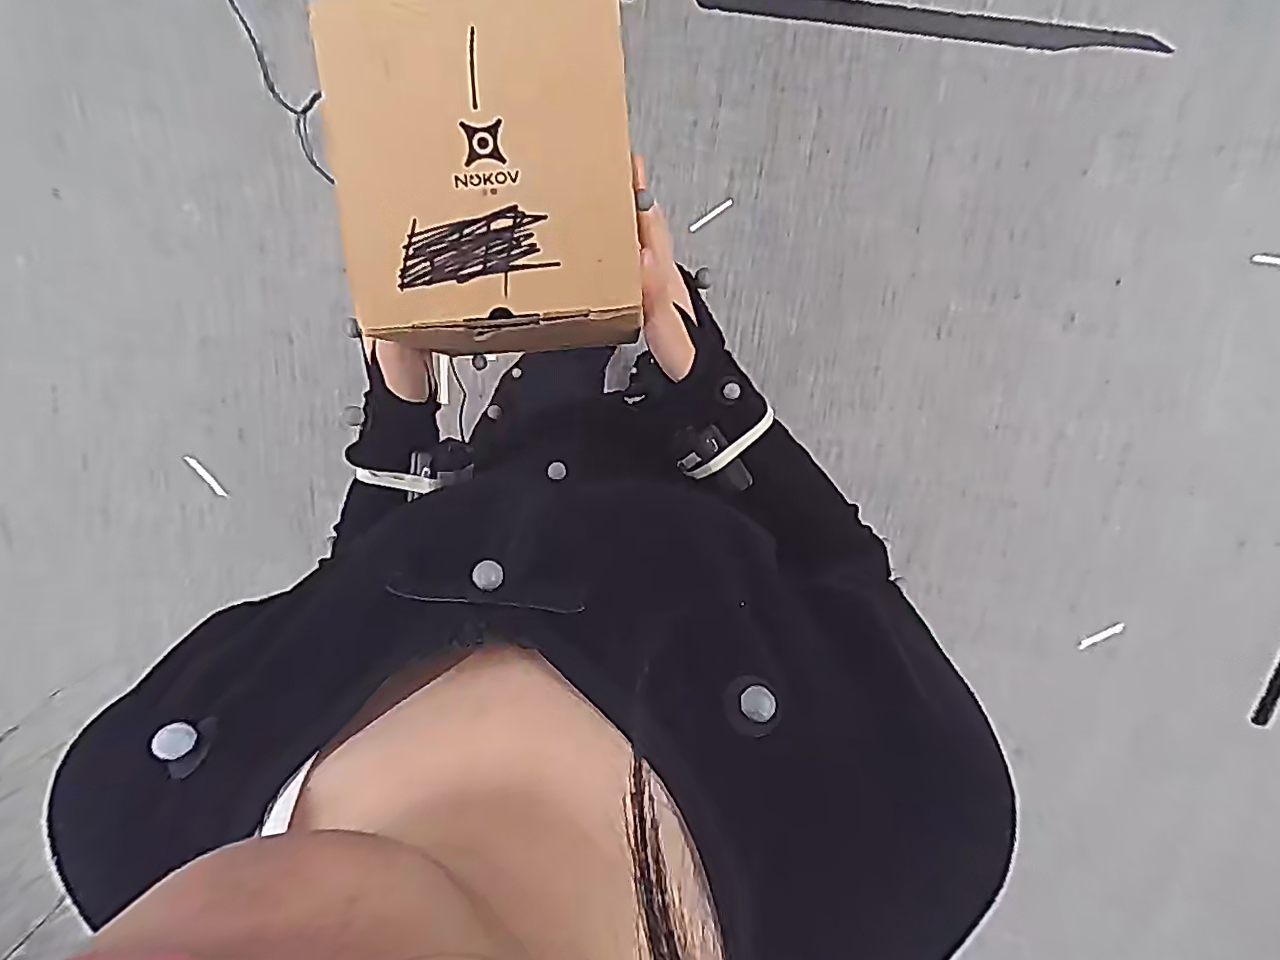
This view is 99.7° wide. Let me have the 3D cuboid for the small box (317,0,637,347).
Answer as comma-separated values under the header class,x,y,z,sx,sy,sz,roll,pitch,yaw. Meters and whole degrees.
class,x,y,z,sx,sy,sz,roll,pitch,yaw
small box,-0.088,-0.191,0.380,0.168,0.176,0.179,-4,97,-1
